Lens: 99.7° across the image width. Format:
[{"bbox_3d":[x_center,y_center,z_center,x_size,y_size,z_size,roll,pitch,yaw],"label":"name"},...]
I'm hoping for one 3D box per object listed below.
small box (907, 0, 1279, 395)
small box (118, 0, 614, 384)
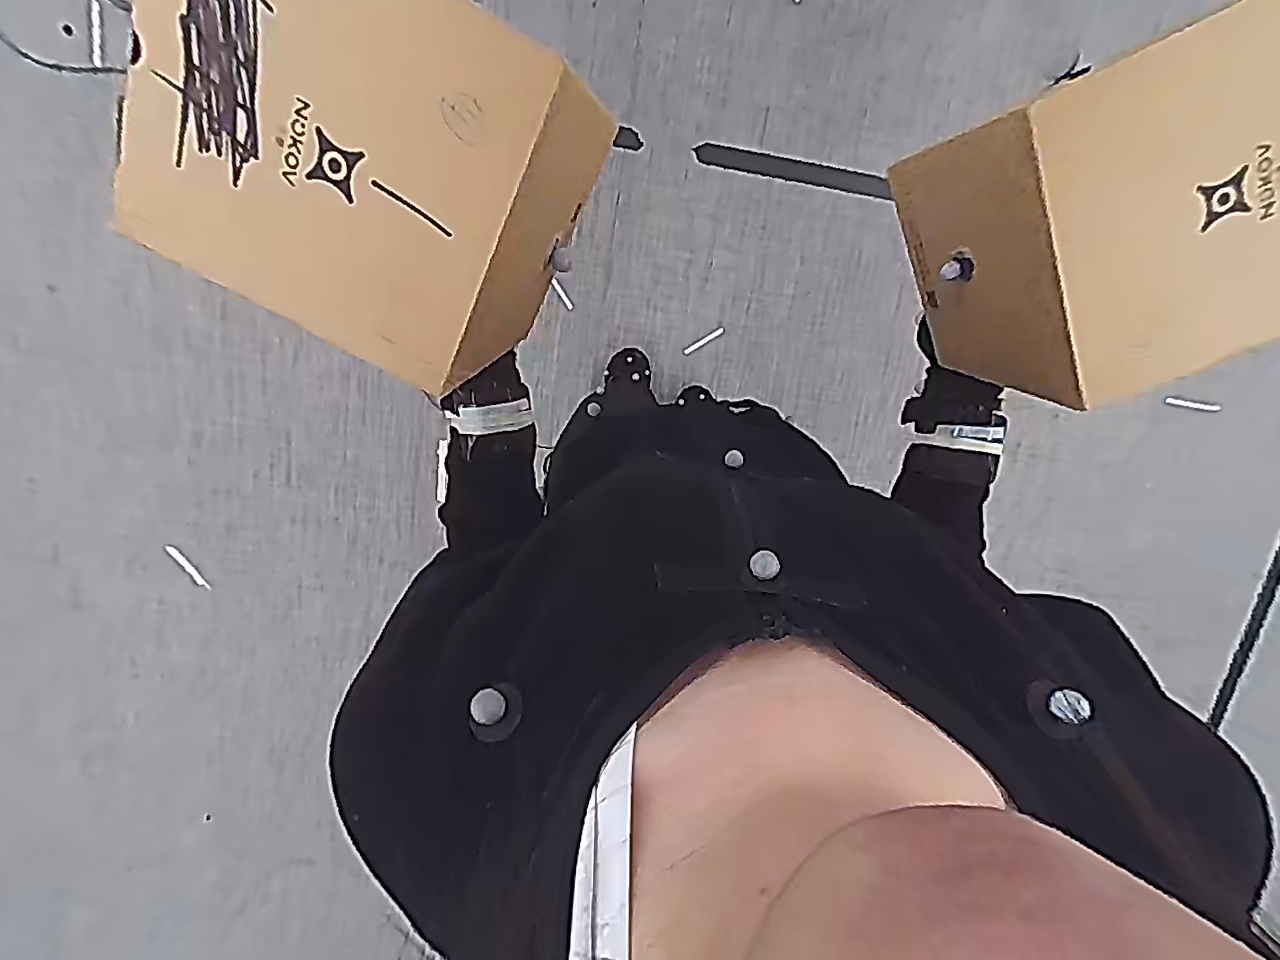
[{"bbox_3d":[0.296,-0.175,0.342,0.179,0.176,0.168,-24,110,9],"label":"small box"},{"bbox_3d":[-0.133,-0.184,0.313,0.179,0.176,0.168,28,115,-8],"label":"small box"}]
